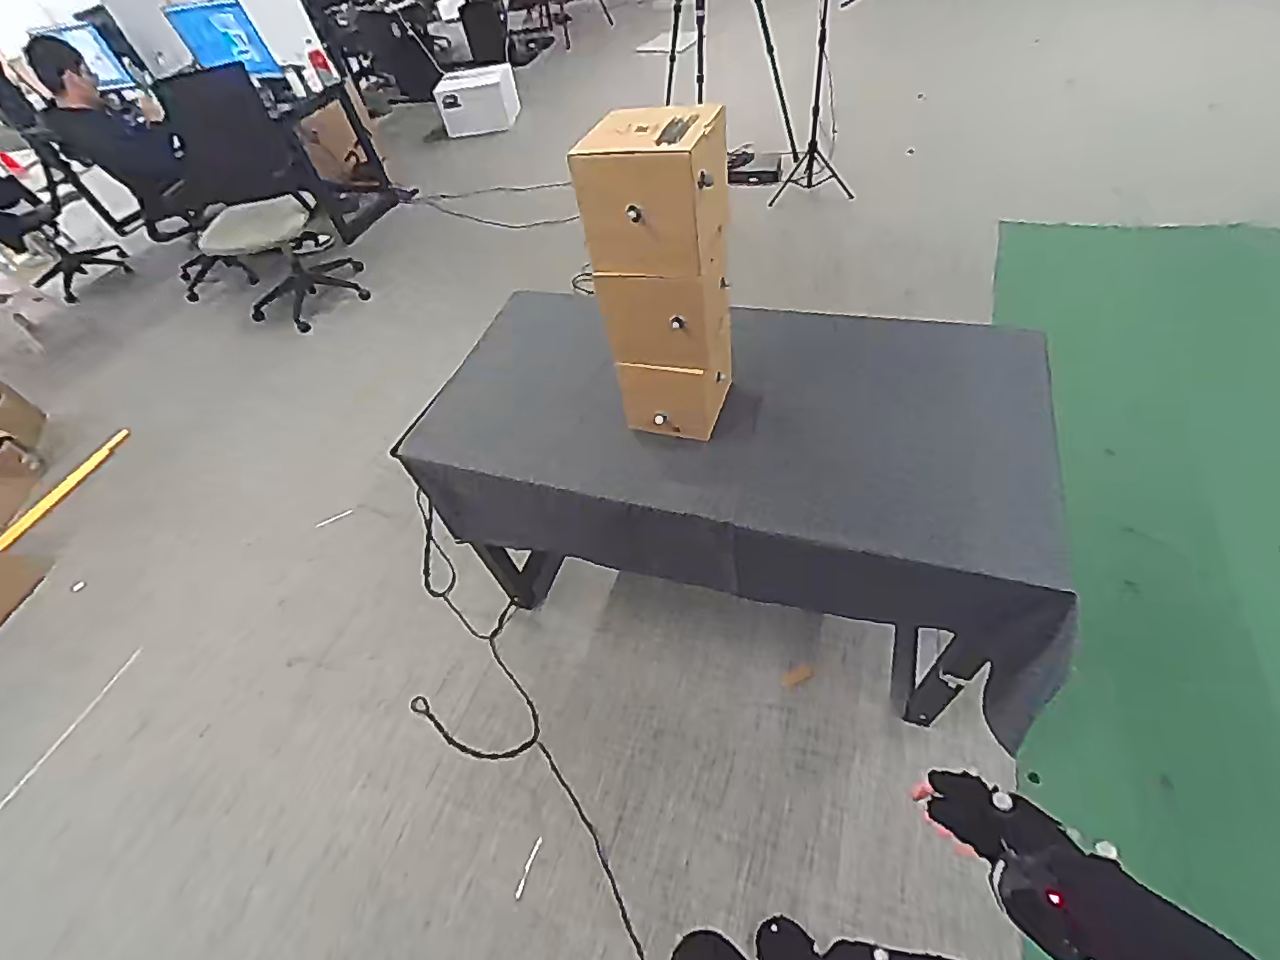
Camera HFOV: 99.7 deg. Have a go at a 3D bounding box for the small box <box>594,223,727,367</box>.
[{"bbox_3d":[0.046,-0.310,0.913,0.179,0.176,0.168,9,52,18],"label":"small box"}]

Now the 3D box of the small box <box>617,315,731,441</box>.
[{"bbox_3d":[0.073,-0.203,1.033,0.168,0.176,0.179,11,54,20],"label":"small box"}]
